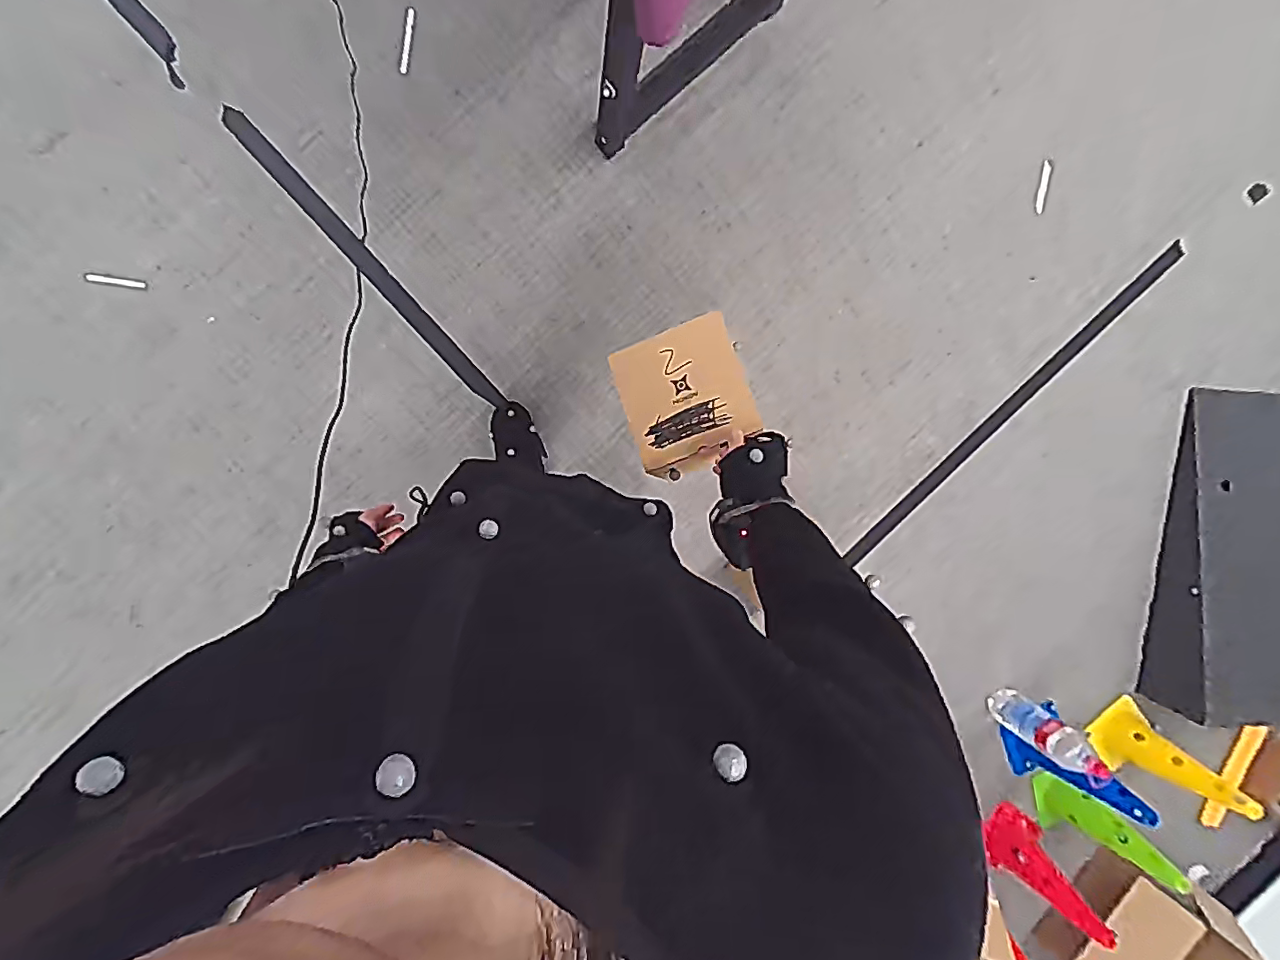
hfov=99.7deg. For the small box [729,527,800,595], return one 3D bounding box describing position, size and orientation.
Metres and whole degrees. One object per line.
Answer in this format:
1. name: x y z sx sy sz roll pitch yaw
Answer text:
1. small box: 0.360 0.253 1.450 0.179 0.176 0.168 -45 102 -1
